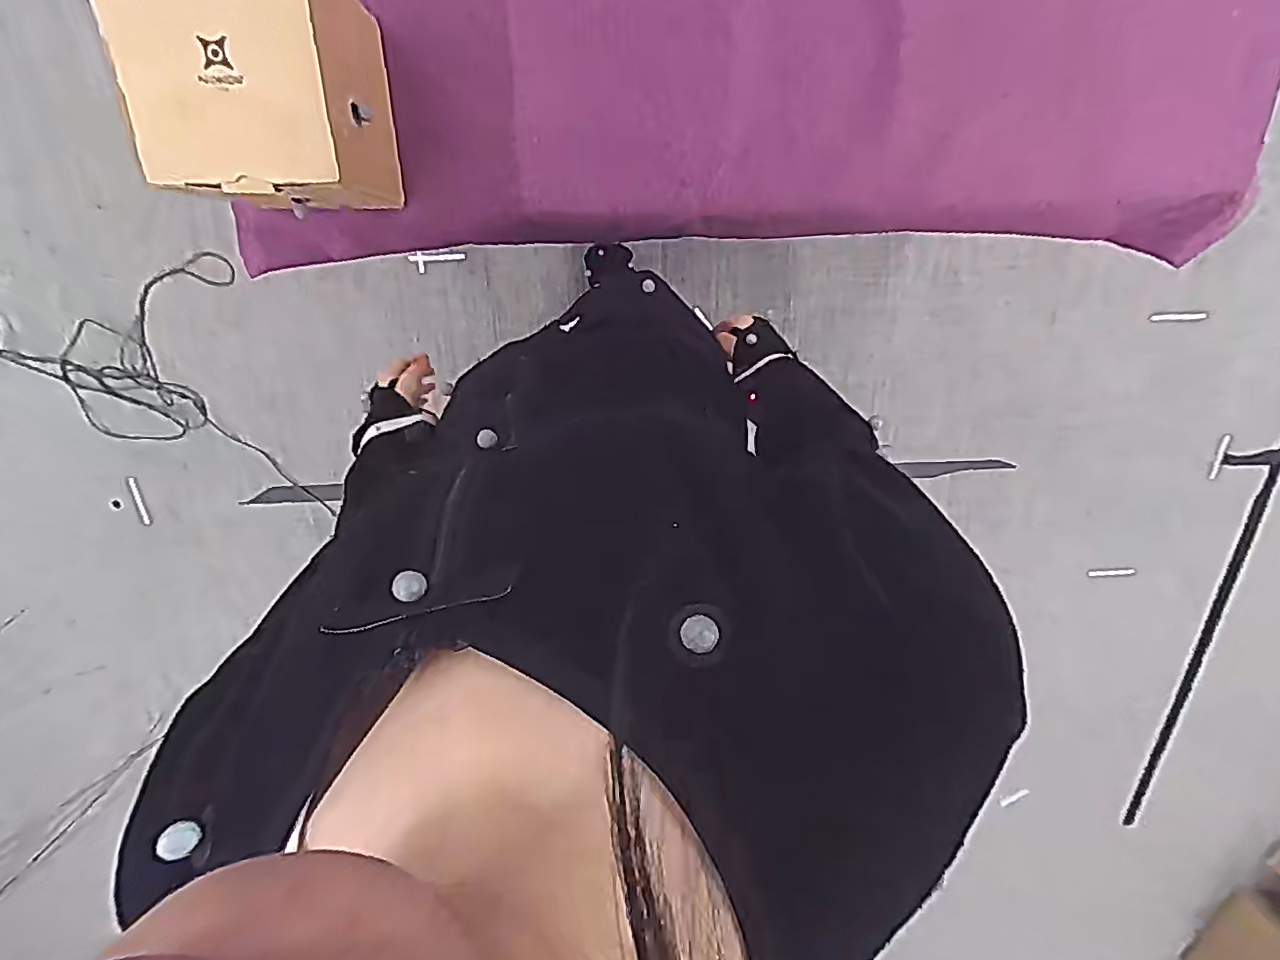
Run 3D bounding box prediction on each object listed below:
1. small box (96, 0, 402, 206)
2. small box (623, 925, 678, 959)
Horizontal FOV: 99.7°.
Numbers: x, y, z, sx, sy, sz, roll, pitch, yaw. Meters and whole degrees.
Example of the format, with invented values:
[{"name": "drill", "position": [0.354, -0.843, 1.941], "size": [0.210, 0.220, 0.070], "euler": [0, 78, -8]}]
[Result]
[{"name": "small box", "position": [-0.347, -0.366, 0.517], "size": [0.168, 0.176, 0.179], "euler": [-2, 111, -4]}, {"name": "small box", "position": [0.038, 1.594, 1.762], "size": [0.179, 0.176, 0.168], "euler": [-3, 110, -1]}]
